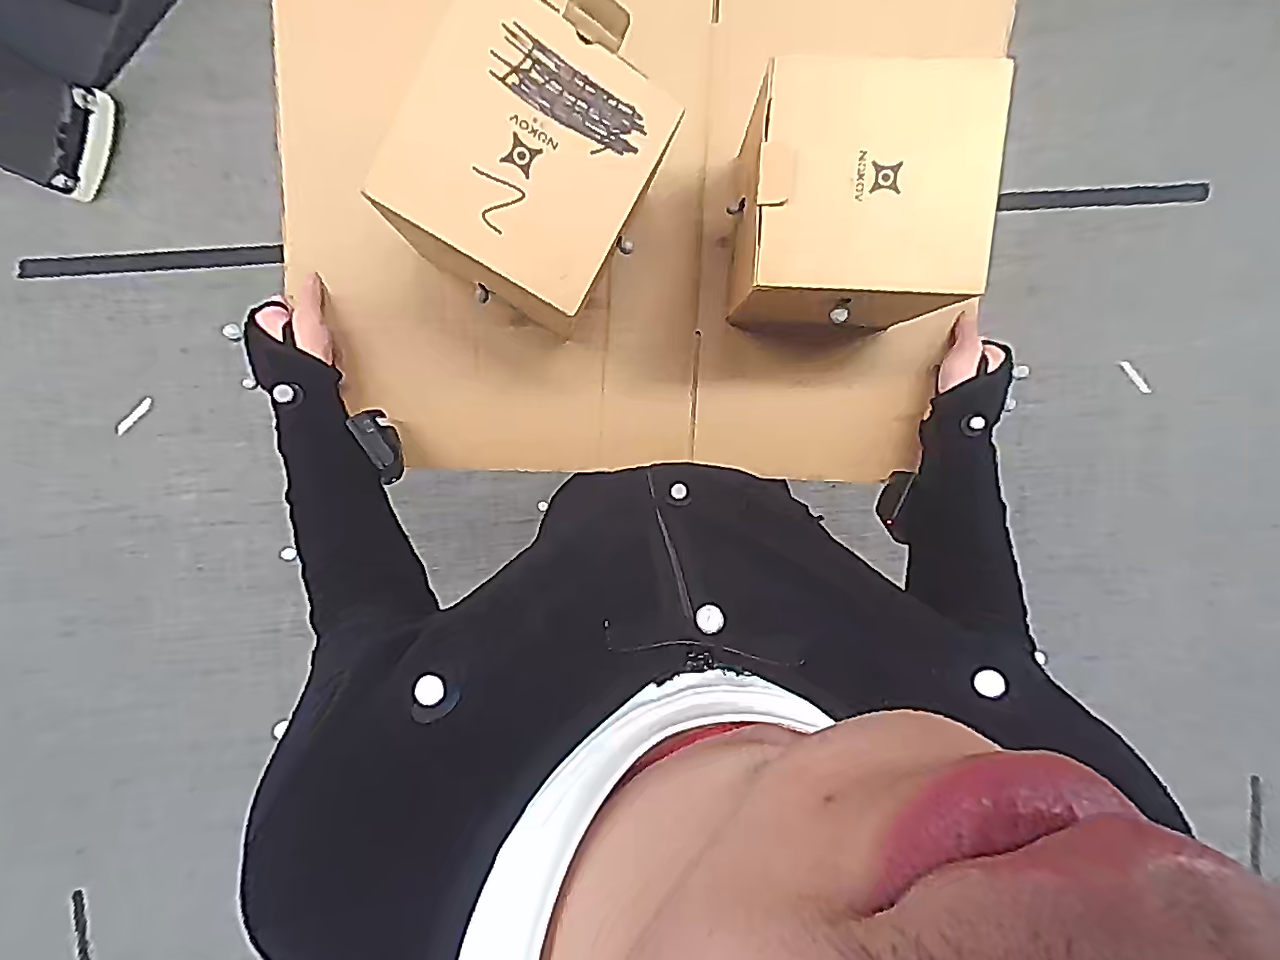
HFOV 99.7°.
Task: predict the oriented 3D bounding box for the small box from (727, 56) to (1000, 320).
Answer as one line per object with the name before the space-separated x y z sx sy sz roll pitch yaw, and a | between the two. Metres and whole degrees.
small box | 0.181 -0.245 0.495 0.179 0.176 0.168 3 98 2
